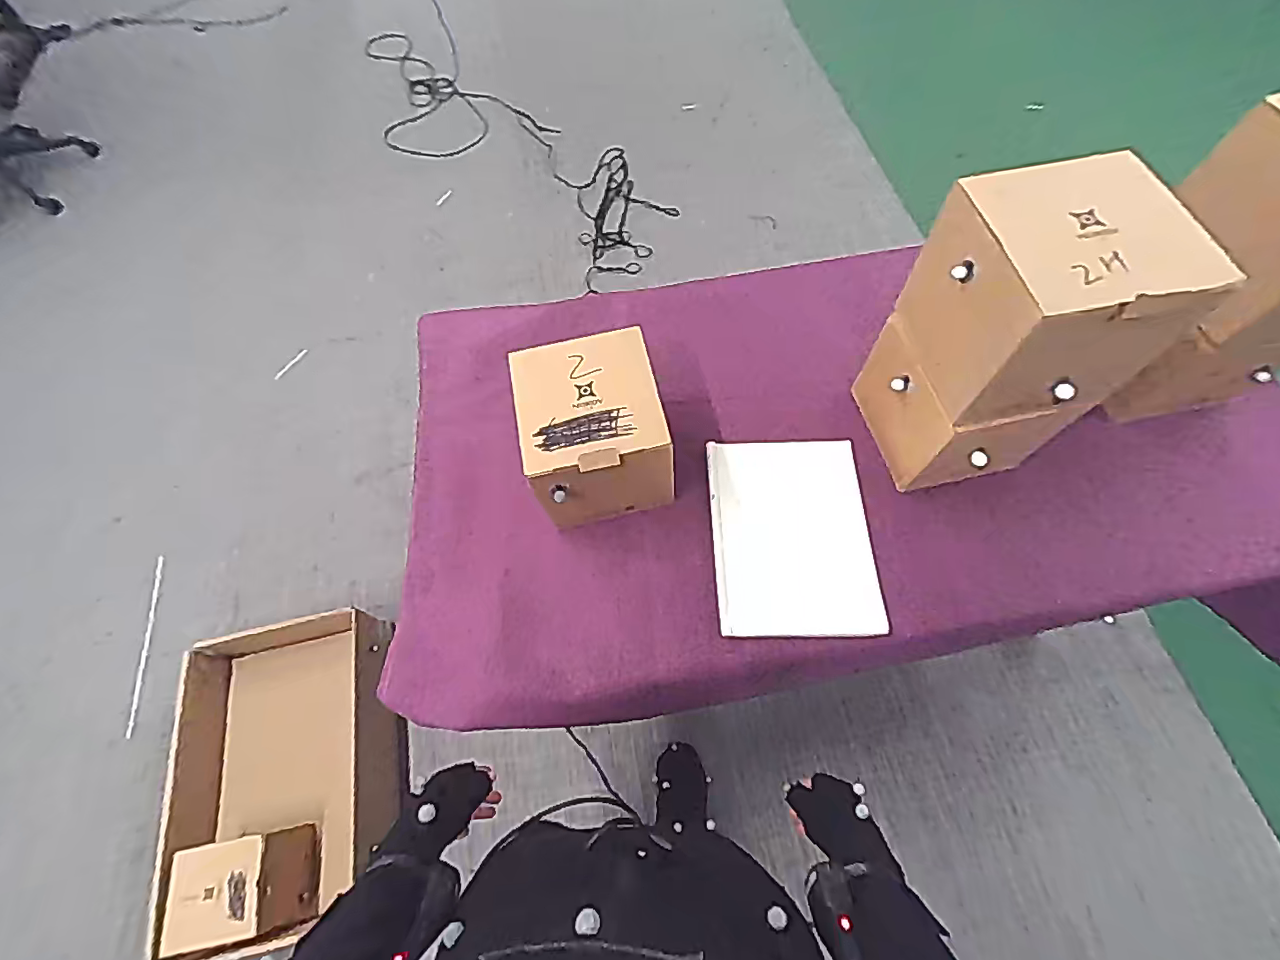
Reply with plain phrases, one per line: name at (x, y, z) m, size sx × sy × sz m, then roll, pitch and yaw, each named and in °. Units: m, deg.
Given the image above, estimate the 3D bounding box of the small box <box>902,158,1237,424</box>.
small box at (0.394, -0.180, 0.543) m, size 0.168 × 0.176 × 0.179 m, roll -9°, pitch 64°, yaw 0°

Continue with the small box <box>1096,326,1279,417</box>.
small box at (0.710, -0.197, 0.710) m, size 0.168 × 0.176 × 0.179 m, roll -9°, pitch 64°, yaw -1°

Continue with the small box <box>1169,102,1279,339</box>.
small box at (0.694, -0.265, 0.561) m, size 0.168 × 0.176 × 0.179 m, roll -9°, pitch 65°, yaw -1°

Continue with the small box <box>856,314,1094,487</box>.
small box at (0.403, -0.104, 0.689) m, size 0.168 × 0.176 × 0.179 m, roll -12°, pitch 64°, yaw -2°
